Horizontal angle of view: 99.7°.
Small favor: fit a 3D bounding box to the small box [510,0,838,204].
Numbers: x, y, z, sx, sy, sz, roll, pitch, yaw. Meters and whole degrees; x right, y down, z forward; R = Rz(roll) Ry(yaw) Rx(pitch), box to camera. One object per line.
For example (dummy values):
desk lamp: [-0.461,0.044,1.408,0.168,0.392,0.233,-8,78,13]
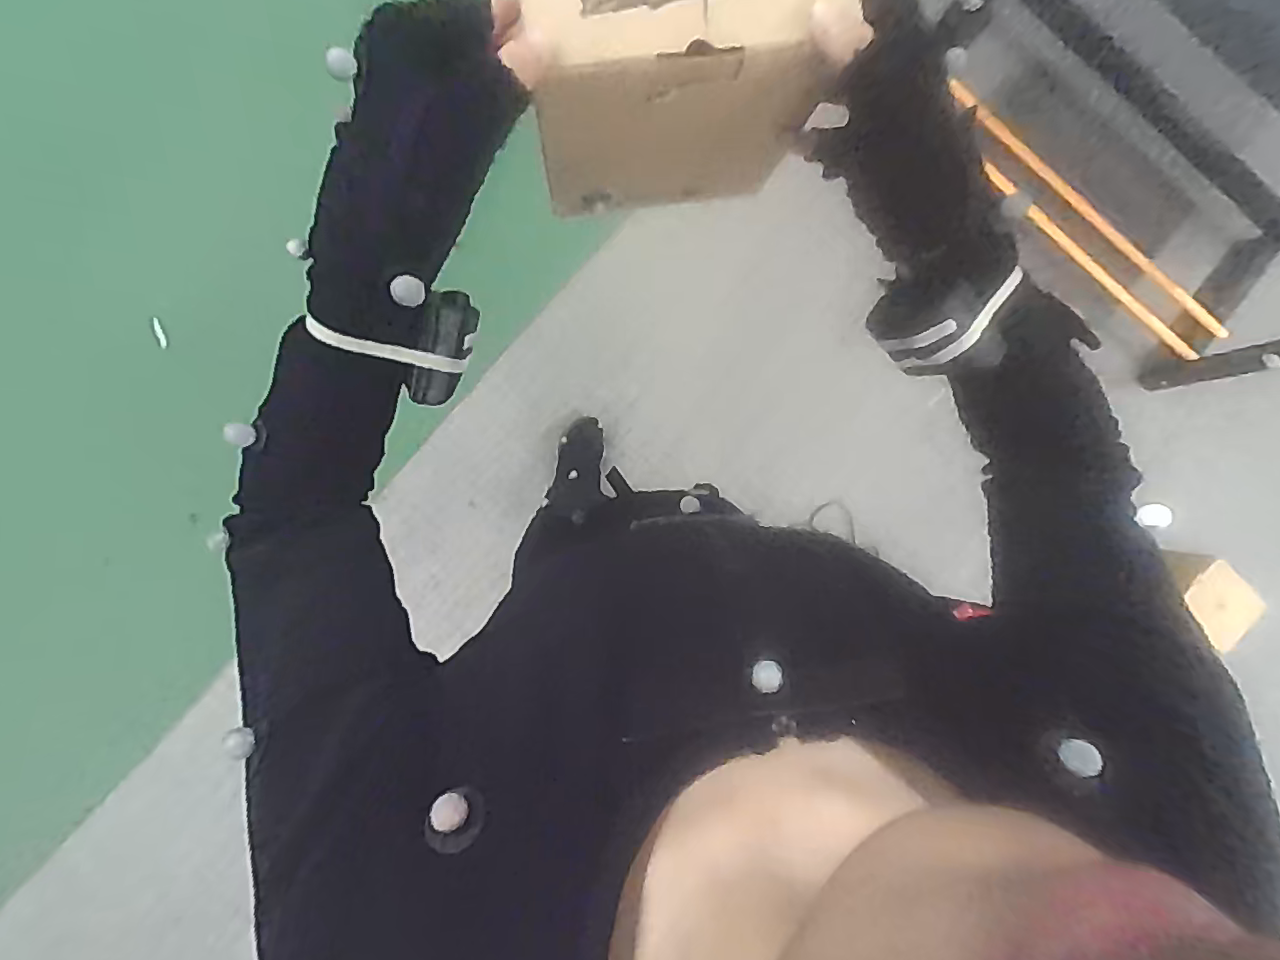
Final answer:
small box: [0.005,-0.298,0.345,0.168,0.176,0.179,-9,94,-4]
